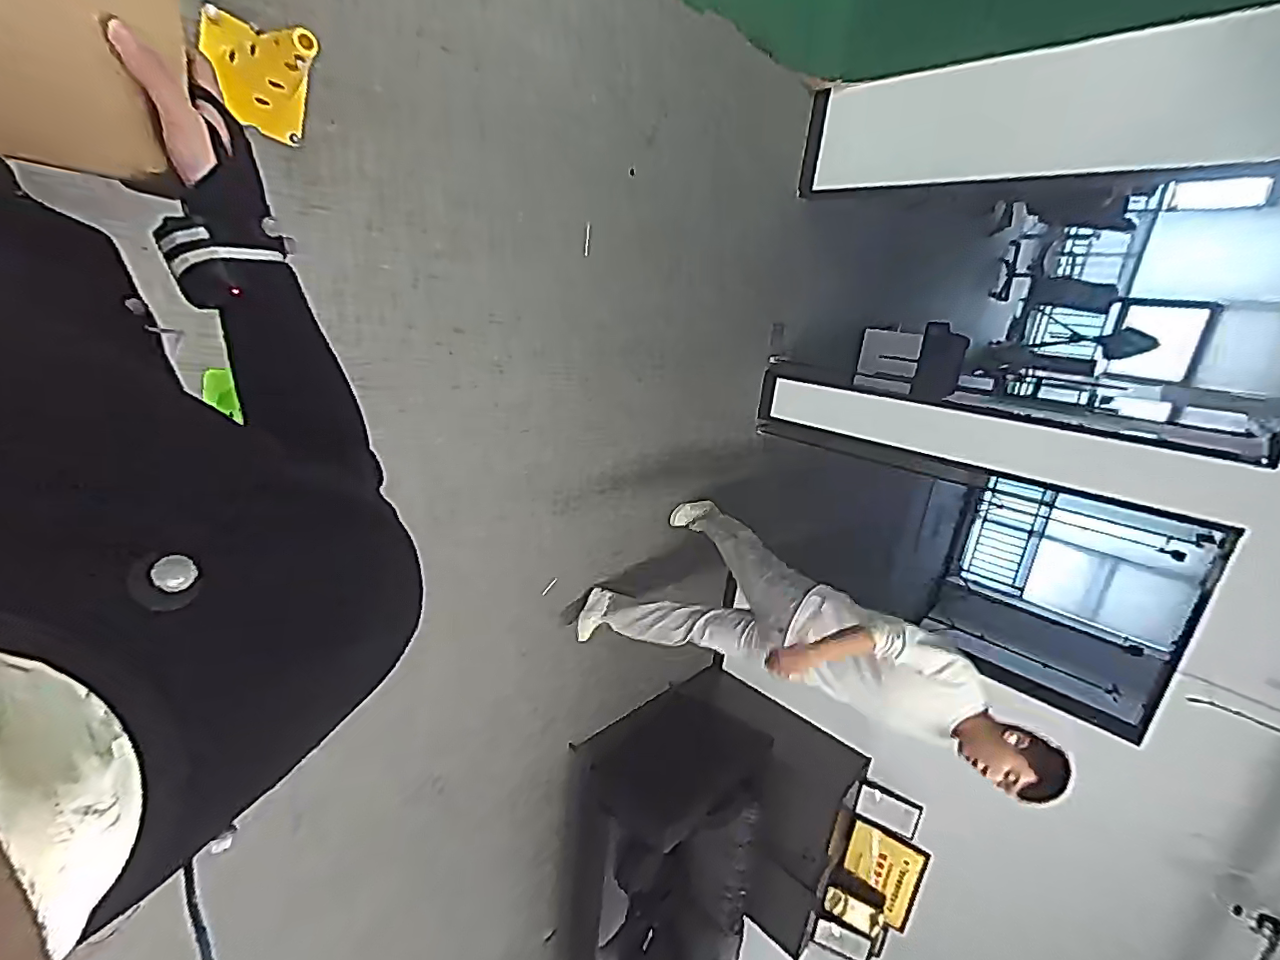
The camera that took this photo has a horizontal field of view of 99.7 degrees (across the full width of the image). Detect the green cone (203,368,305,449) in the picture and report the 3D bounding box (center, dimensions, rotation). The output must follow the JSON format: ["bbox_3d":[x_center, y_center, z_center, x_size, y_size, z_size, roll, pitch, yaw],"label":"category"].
[{"bbox_3d":[-0.870,-0.133,1.280,0.200,0.368,0.202,-4,108,-48],"label":"green cone"}]
